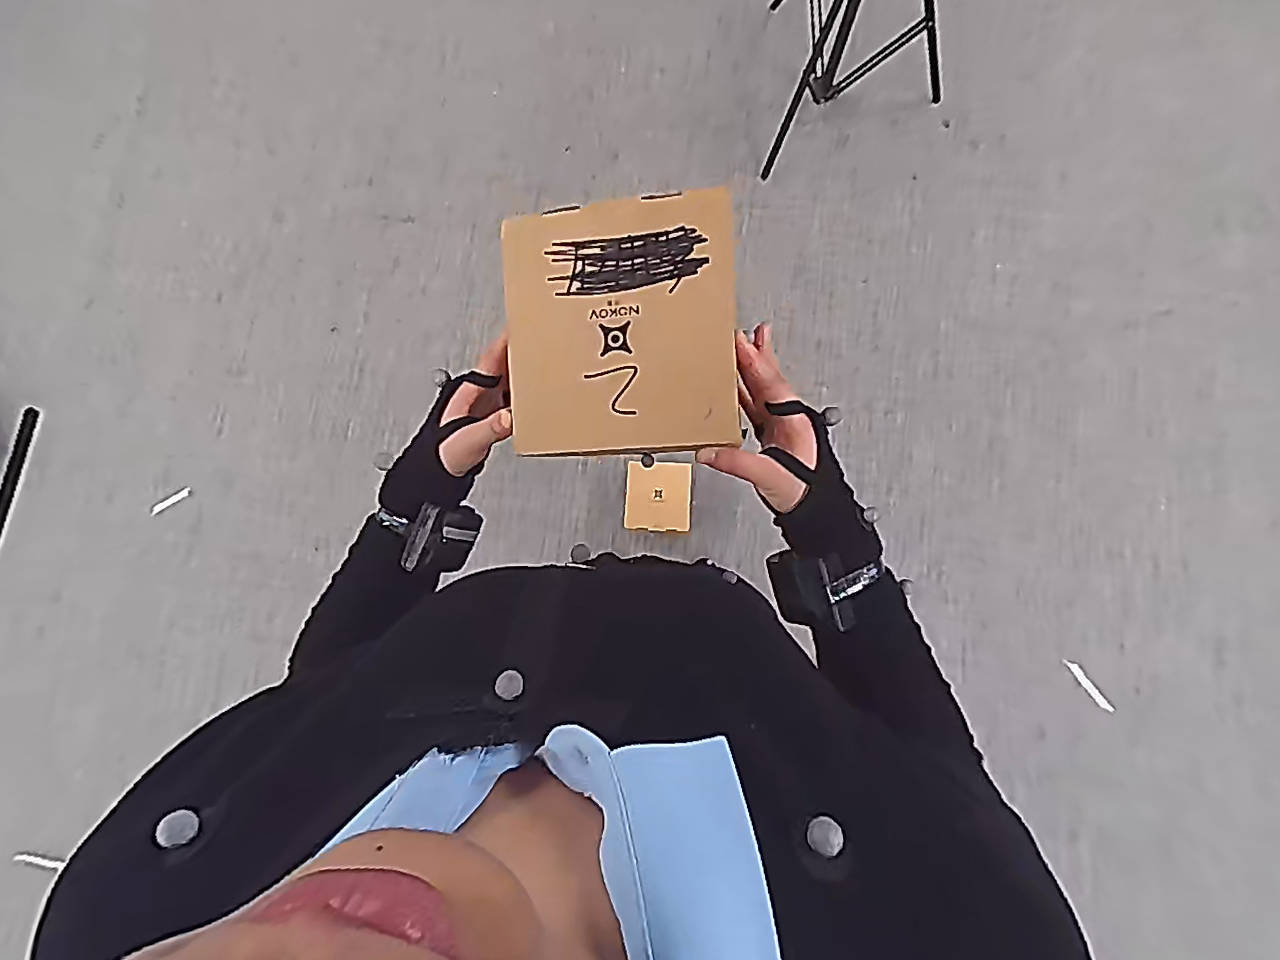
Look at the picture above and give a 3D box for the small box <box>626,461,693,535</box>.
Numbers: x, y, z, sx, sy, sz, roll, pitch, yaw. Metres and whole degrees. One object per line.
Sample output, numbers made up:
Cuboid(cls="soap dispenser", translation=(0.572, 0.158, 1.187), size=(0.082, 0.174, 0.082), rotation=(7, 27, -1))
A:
Cuboid(cls="small box", translation=(0.053, 0.053, 1.443), size=(0.168, 0.176, 0.179), rotation=(2, 82, 3))
